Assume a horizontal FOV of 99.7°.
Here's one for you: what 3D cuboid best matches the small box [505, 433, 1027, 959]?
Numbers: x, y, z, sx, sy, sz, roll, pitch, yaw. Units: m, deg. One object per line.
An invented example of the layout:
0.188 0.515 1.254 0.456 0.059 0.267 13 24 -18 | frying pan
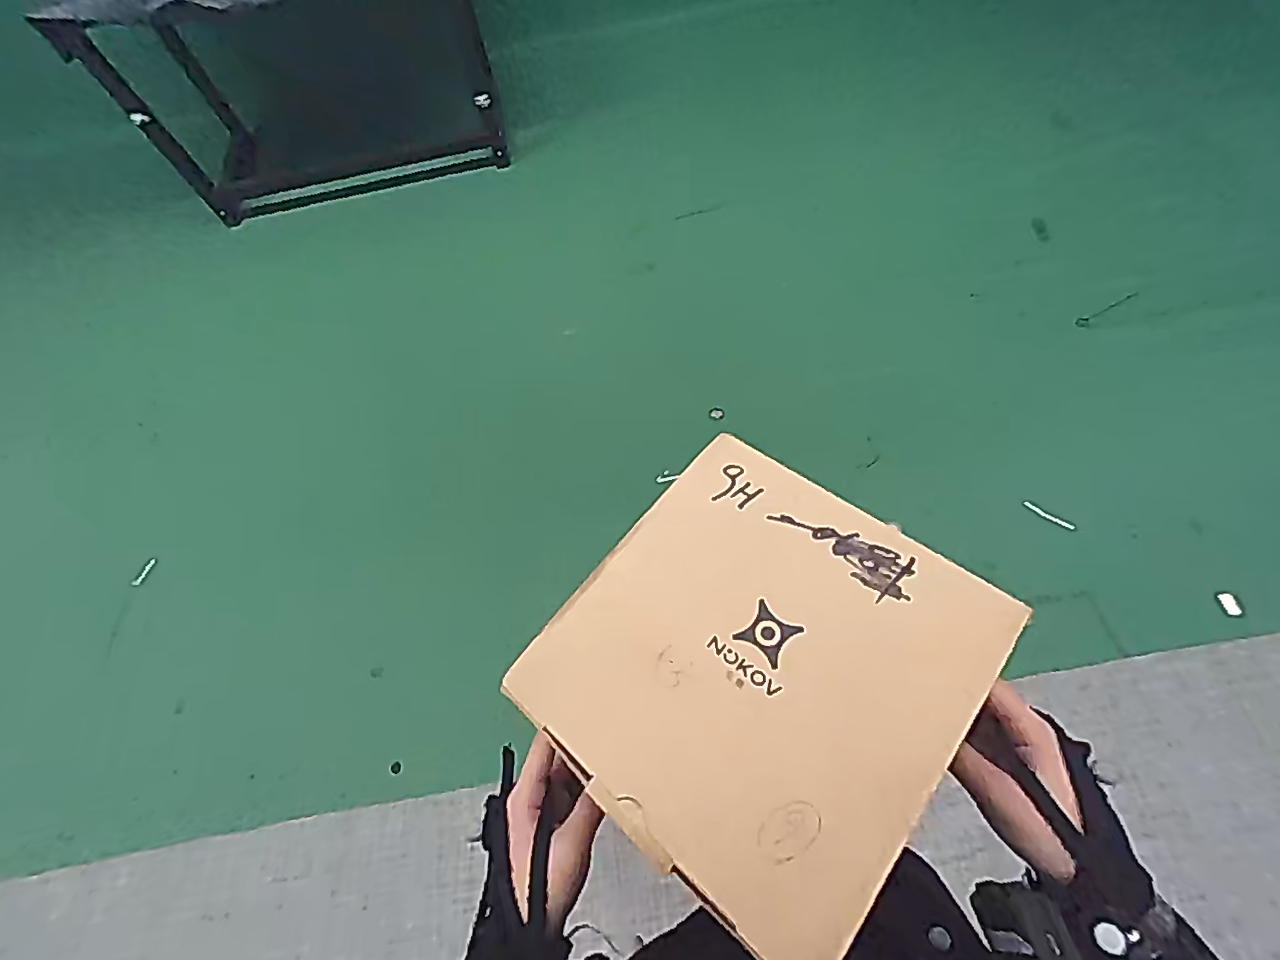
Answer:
0.064 0.114 0.307 0.168 0.176 0.179 35 71 26 | small box
